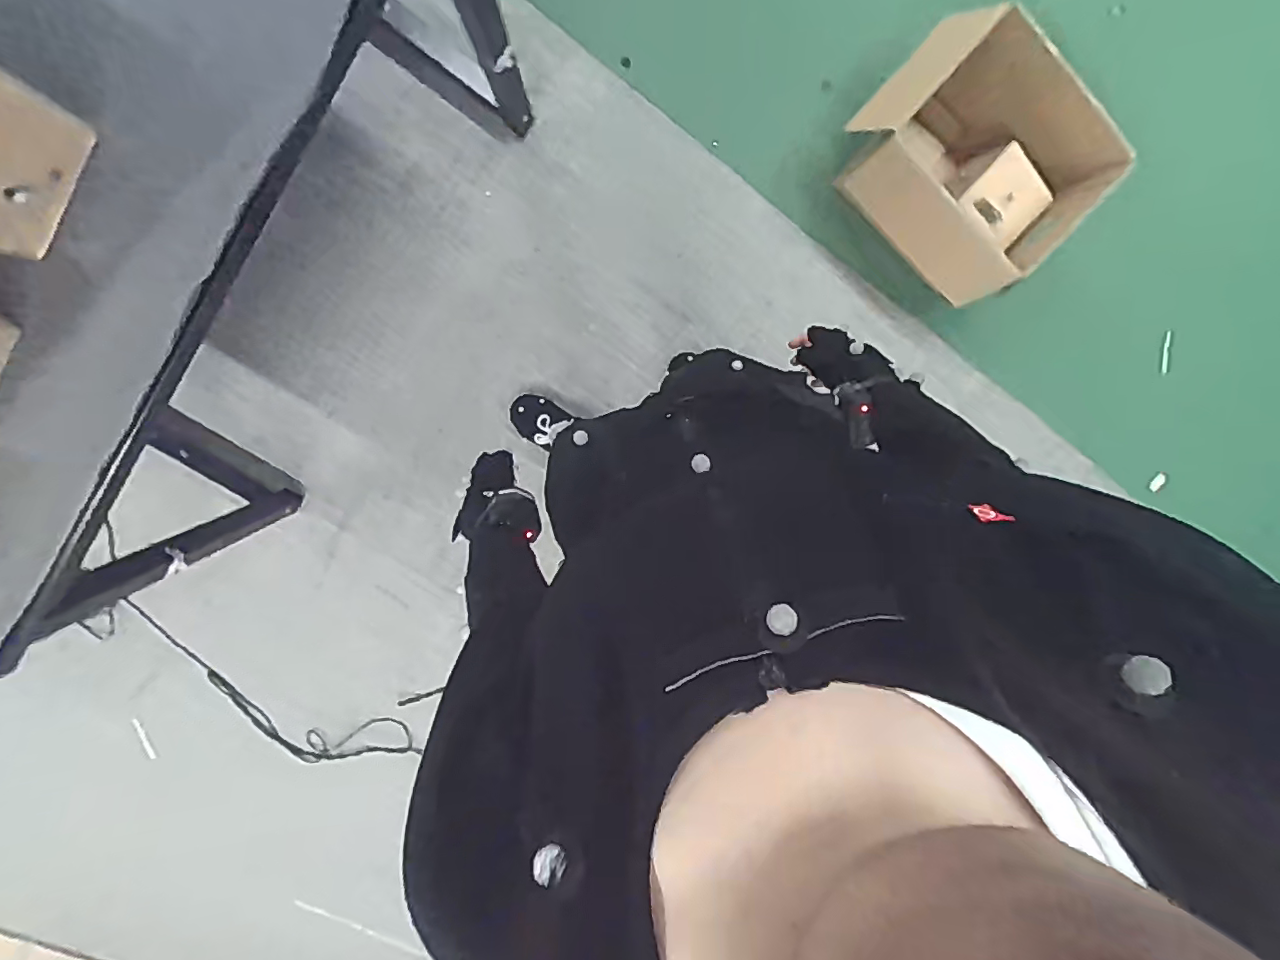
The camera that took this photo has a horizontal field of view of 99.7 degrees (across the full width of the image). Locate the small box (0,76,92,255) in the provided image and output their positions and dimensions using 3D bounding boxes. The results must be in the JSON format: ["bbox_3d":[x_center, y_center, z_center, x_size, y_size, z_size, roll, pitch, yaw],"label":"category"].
[{"bbox_3d":[-0.727,-0.349,0.531,0.179,0.176,0.168,32,98,-10],"label":"small box"}]
